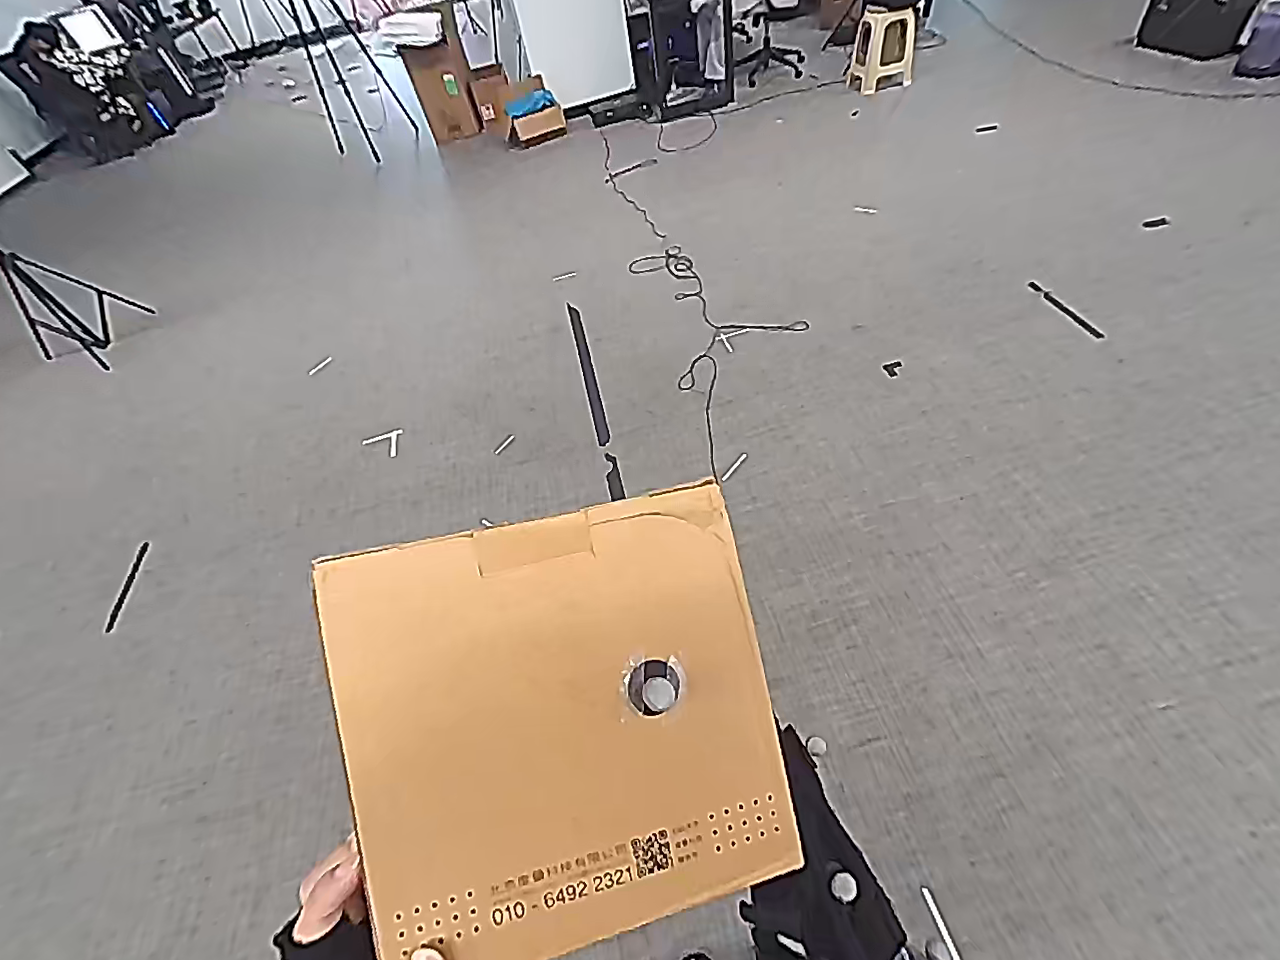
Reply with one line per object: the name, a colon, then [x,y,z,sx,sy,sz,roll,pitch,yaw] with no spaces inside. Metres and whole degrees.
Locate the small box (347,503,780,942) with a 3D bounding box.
small box: [-0.038,0.114,0.312,0.168,0.179,0.176,-11,87,-10]
